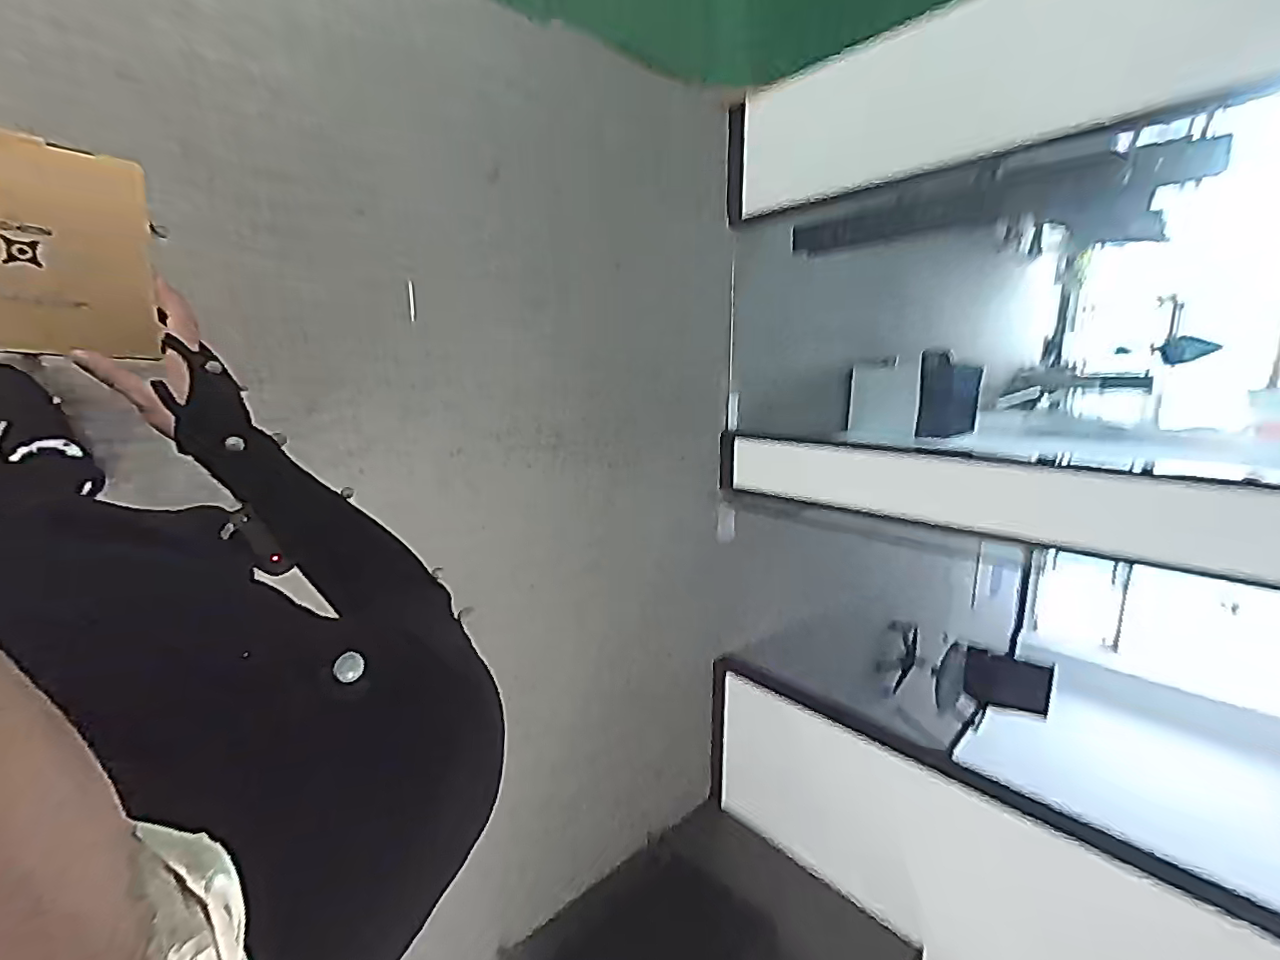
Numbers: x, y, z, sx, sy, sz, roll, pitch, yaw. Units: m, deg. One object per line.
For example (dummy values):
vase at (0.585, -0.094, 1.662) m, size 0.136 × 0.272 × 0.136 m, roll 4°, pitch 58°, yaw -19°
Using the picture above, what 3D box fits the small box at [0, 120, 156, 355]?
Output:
small box at (-0.563, -0.210, 0.495) m, size 0.168 × 0.176 × 0.179 m, roll -7°, pitch 104°, yaw -41°

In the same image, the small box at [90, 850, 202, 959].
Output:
small box at (-1.147, 1.012, 1.259) m, size 0.168 × 0.176 × 0.179 m, roll -13°, pitch 107°, yaw -41°
